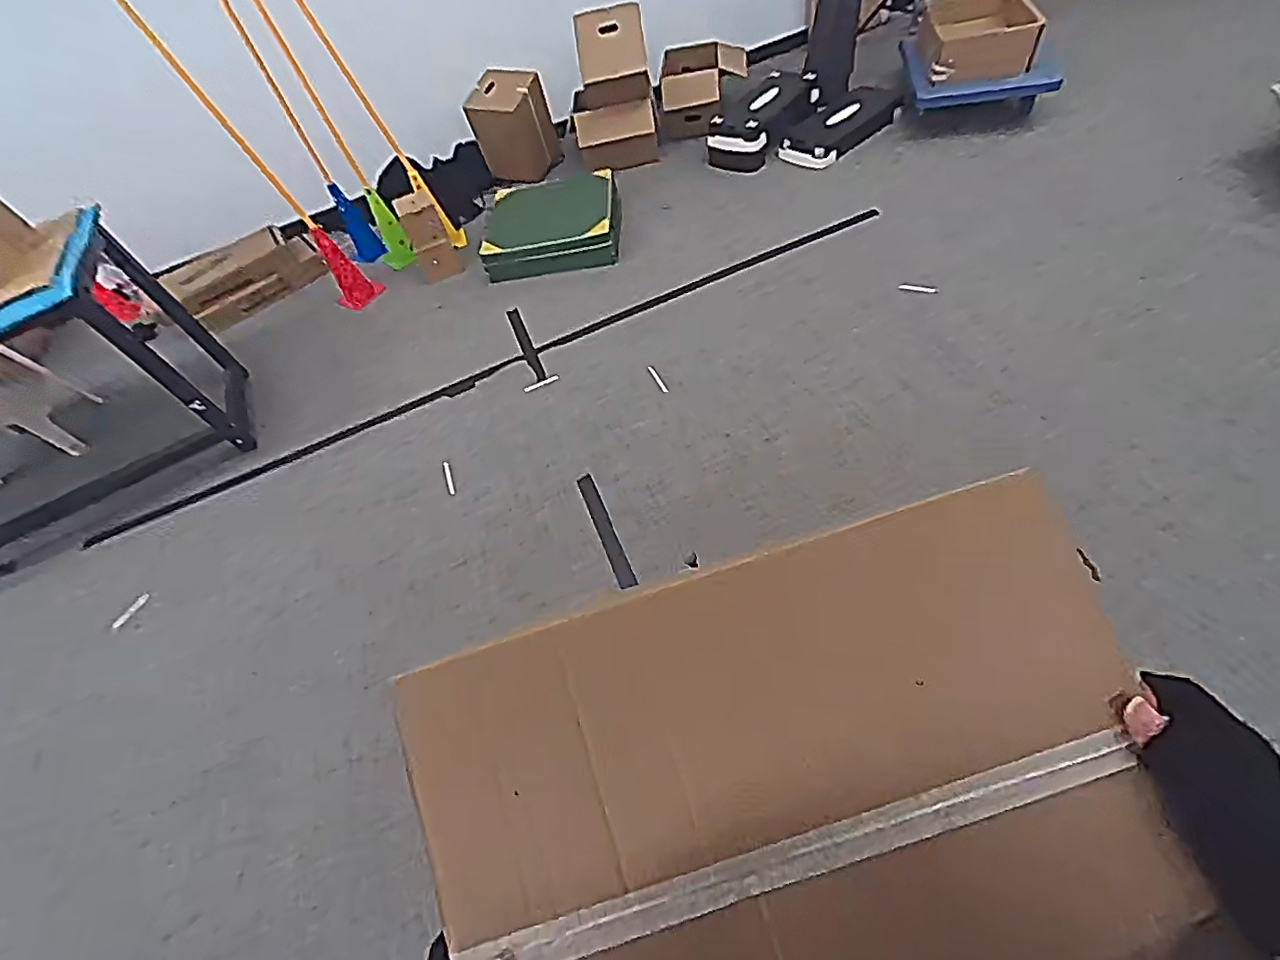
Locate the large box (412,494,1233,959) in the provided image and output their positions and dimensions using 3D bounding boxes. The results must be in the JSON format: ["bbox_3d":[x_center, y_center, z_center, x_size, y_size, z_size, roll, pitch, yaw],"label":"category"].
[{"bbox_3d":[0.102,0.233,0.453,0.408,0.320,0.320,-19,81,-1],"label":"large box"}]
